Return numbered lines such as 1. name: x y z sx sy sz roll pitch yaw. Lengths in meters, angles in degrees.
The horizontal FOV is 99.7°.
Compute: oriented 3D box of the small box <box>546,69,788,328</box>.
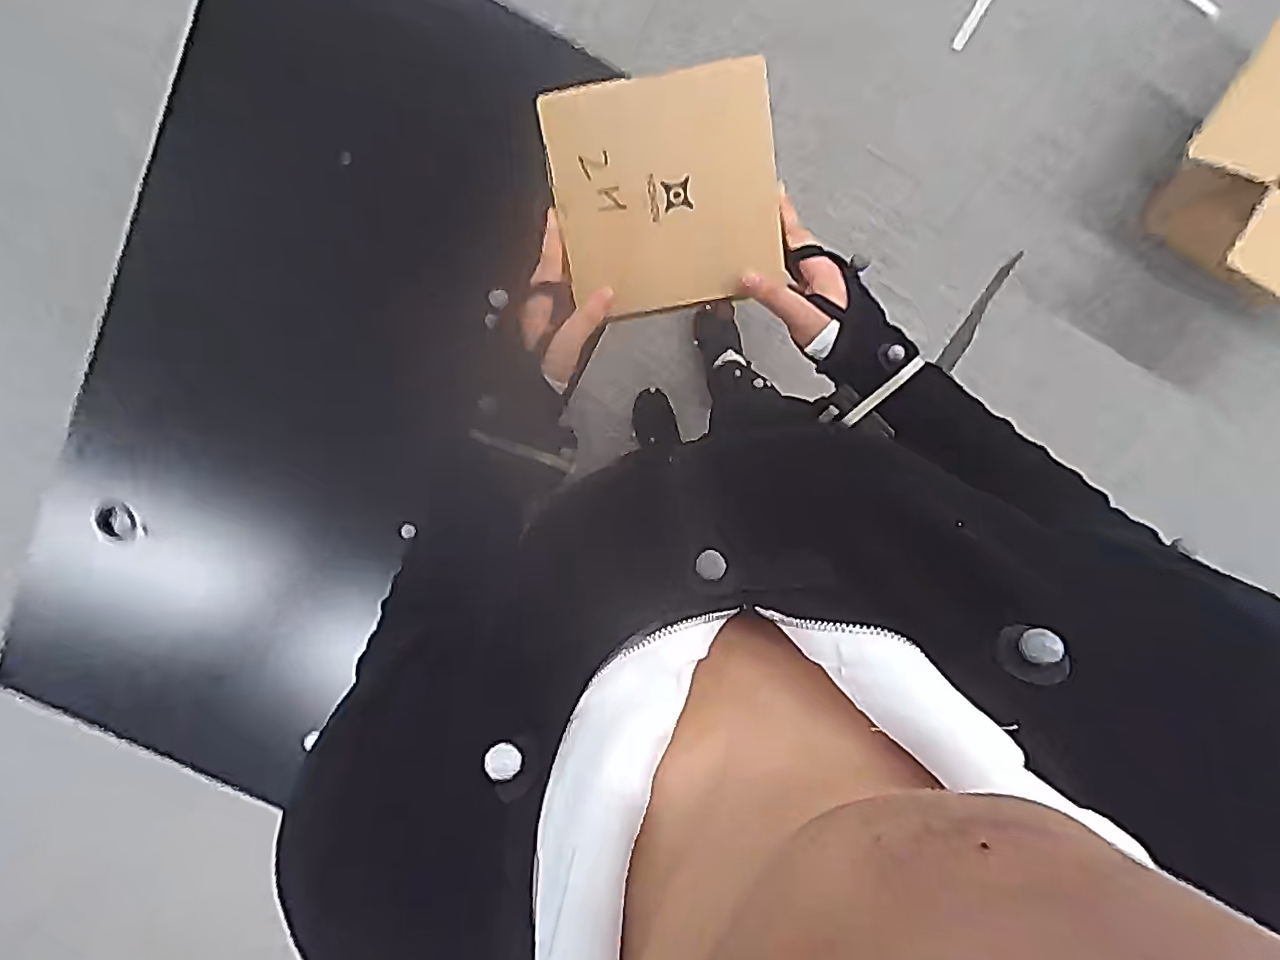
1. small box: 0.024 -0.237 0.501 0.179 0.176 0.168 -8 104 3
